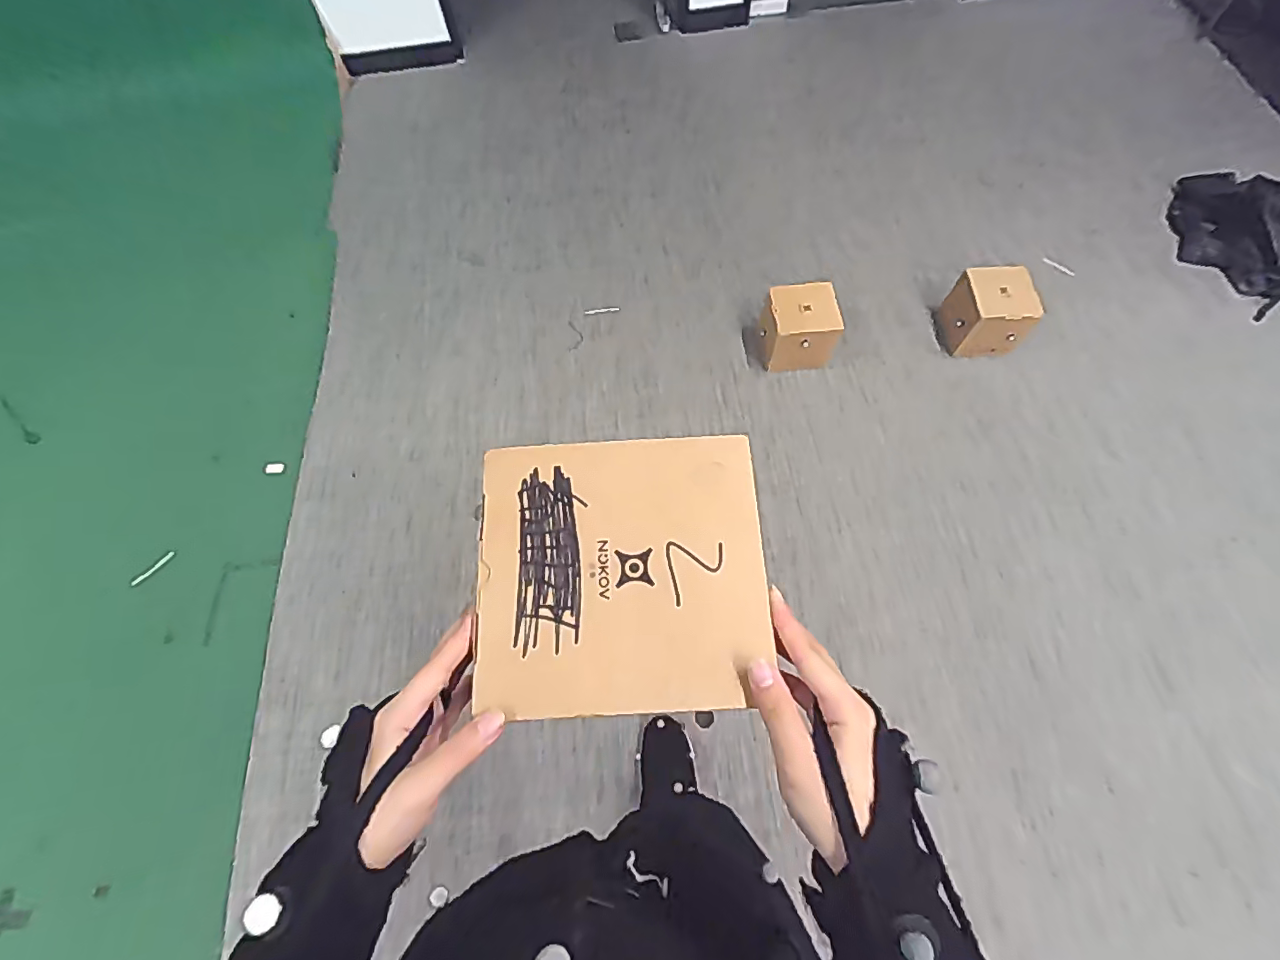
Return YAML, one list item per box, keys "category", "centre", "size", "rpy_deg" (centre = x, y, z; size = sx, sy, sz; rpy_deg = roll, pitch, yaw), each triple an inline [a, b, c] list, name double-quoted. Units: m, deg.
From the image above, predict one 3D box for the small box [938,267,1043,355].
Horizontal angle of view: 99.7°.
- category: "small box"
  centre: [0.965, -0.464, 1.504]
  size: [0.168, 0.176, 0.179]
  rpy_deg: [-1, 65, 1]

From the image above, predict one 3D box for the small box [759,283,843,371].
- category: "small box"
  centre: [0.443, -0.424, 1.512]
  size: [0.179, 0.176, 0.168]
  rpy_deg: [-5, 66, 1]
